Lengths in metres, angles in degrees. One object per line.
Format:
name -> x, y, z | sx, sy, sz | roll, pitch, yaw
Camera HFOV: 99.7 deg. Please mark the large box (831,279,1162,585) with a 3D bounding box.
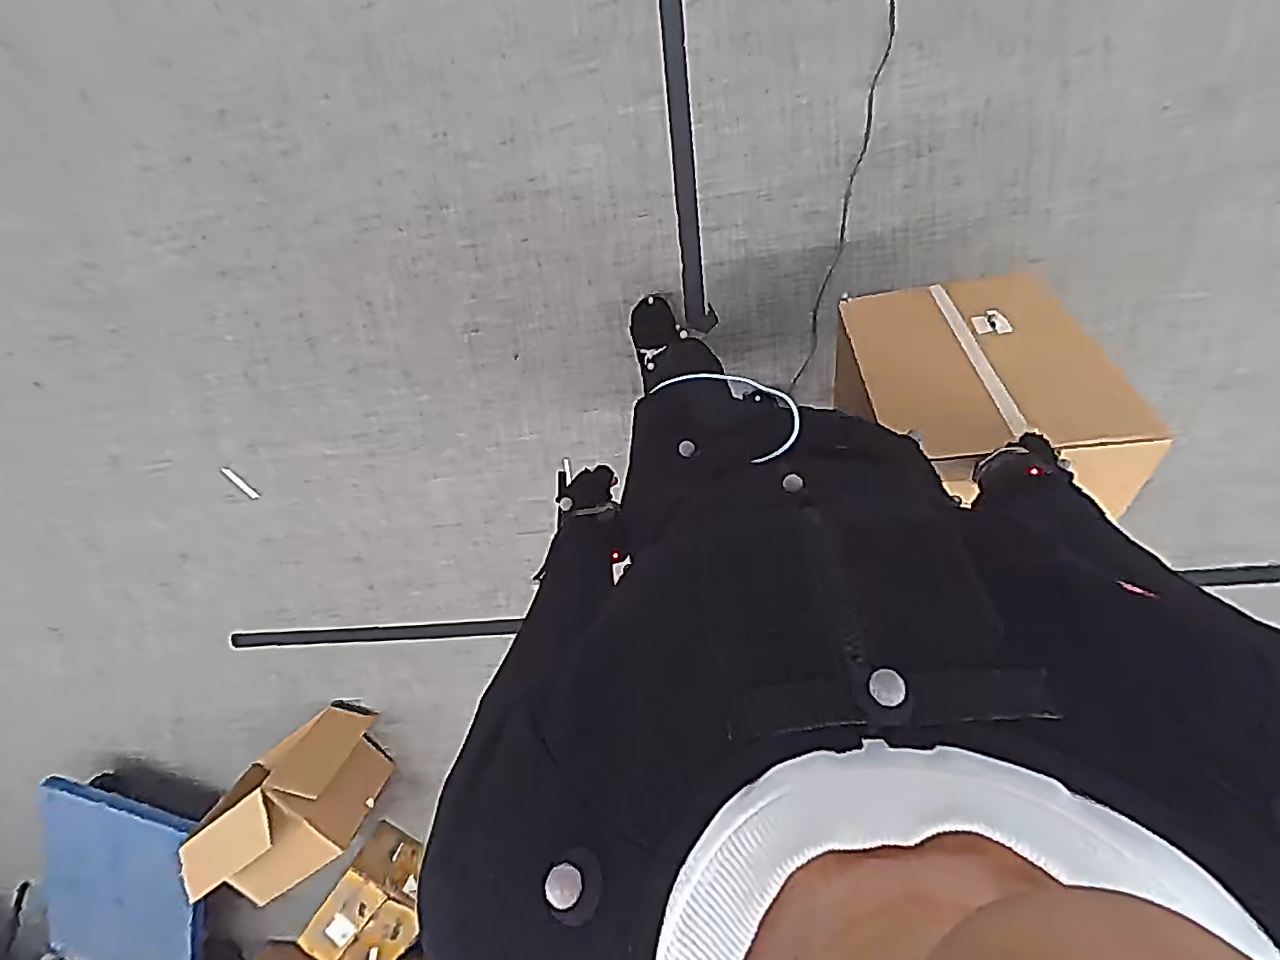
large box -> 0.523, -0.080, 0.915 | 0.320, 0.408, 0.320 | -5, 136, 10
